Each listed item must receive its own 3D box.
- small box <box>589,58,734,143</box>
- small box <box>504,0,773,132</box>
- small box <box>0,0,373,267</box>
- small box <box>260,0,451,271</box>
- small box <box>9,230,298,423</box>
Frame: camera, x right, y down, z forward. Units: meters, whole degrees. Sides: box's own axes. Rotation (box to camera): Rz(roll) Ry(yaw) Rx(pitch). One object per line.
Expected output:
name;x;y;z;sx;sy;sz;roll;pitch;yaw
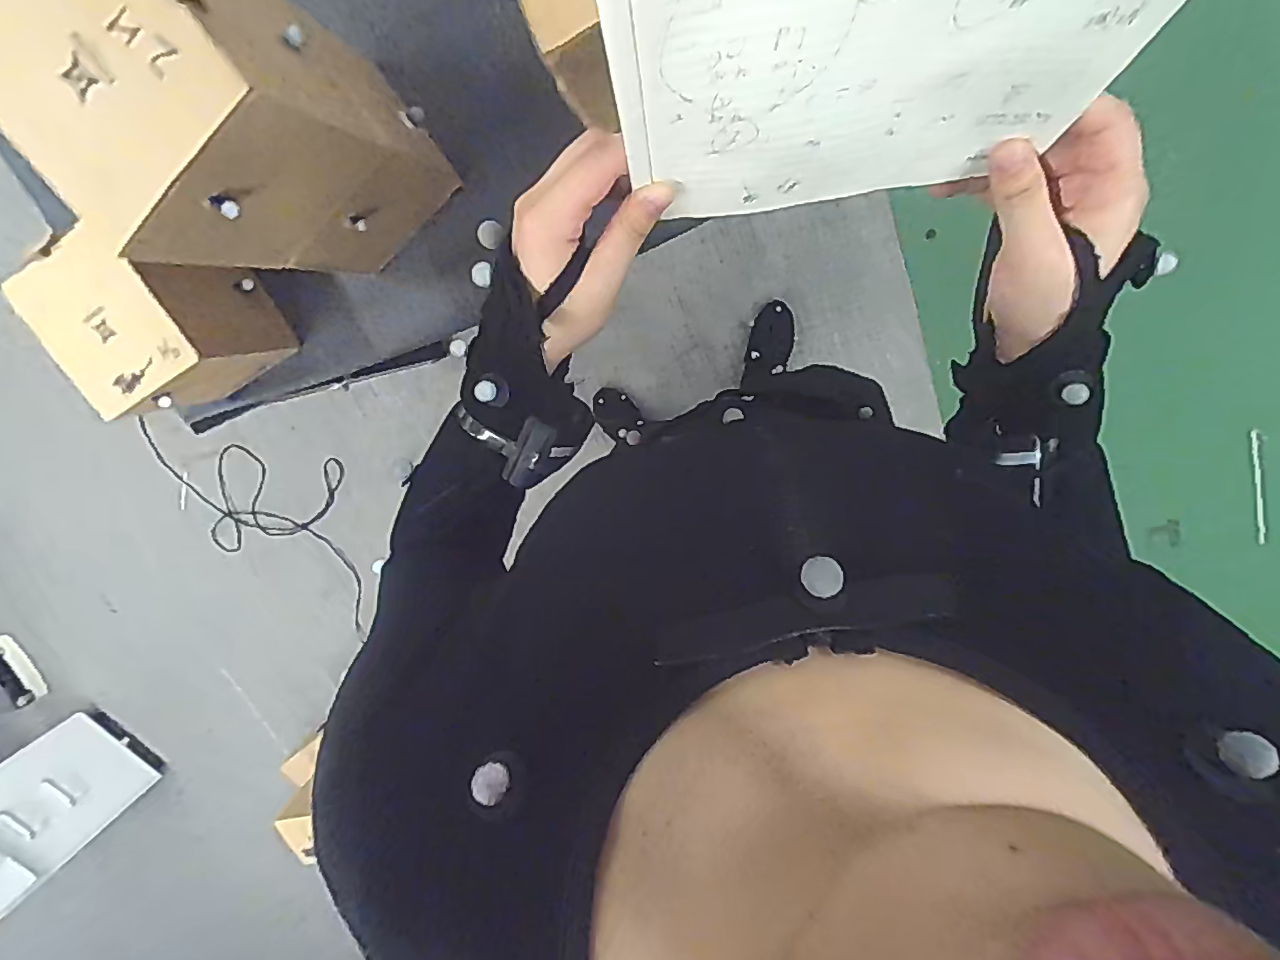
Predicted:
small box;-0.001;-0.454;0.518;0.168;0.176;0.179;-4;108;10
small box;-0.010;-0.381;0.370;0.179;0.176;0.168;-21;104;15
small box;-0.368;-0.297;0.448;0.179;0.176;0.168;-34;102;17
small box;-0.349;-0.353;0.602;0.179;0.176;0.168;-37;101;17
small box;-0.595;-0.197;0.687;0.168;0.176;0.179;-25;104;15
